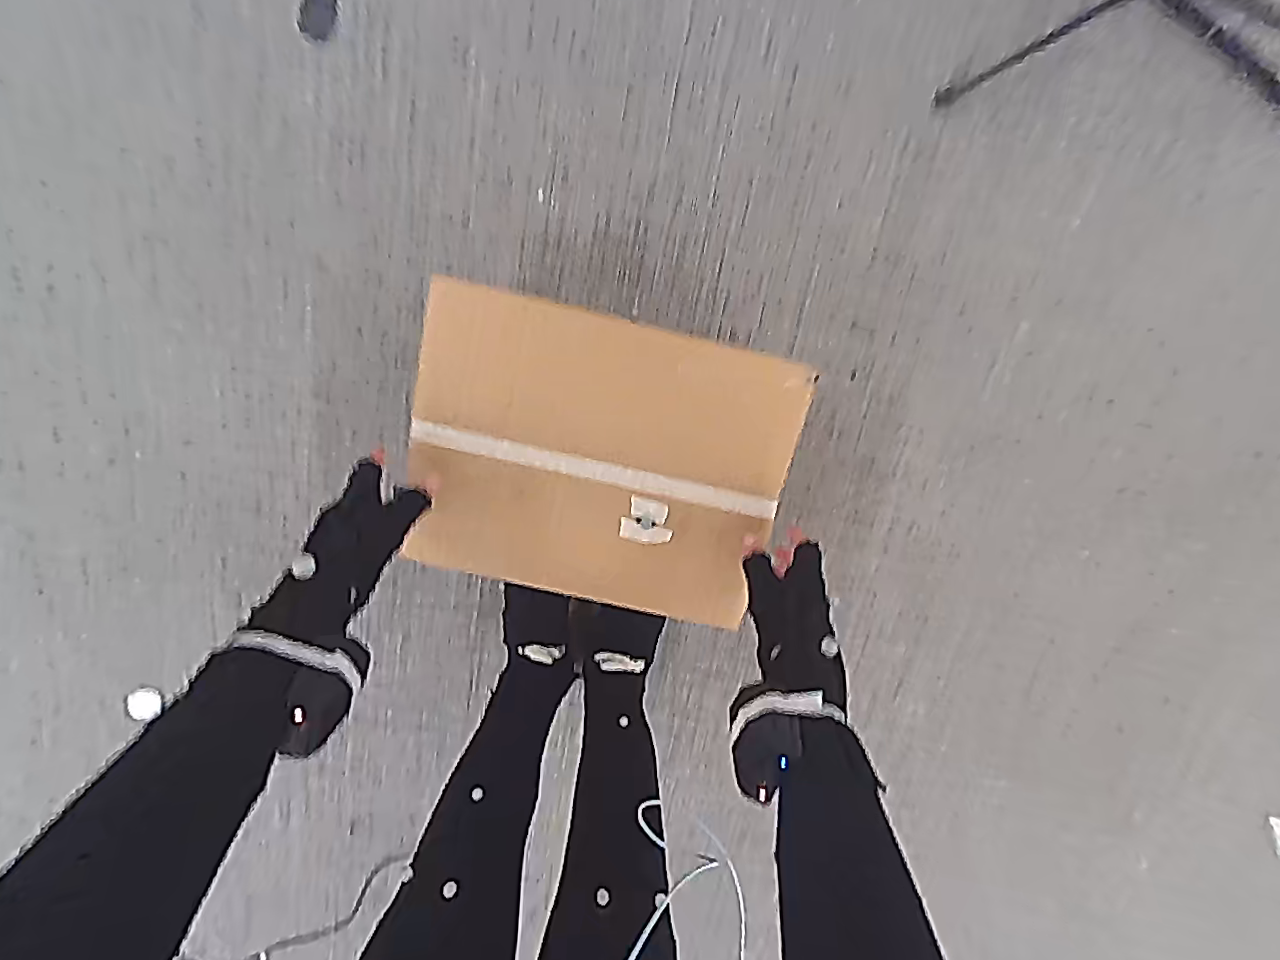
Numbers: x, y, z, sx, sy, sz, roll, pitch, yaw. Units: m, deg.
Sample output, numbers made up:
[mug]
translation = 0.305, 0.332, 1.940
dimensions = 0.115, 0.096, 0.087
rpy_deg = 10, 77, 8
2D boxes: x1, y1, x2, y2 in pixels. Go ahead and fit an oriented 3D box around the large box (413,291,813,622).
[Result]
[large box]
translation = -0.041, -0.049, 0.742
dimensions = 0.408, 0.320, 0.320
rpy_deg = 13, 105, -3
